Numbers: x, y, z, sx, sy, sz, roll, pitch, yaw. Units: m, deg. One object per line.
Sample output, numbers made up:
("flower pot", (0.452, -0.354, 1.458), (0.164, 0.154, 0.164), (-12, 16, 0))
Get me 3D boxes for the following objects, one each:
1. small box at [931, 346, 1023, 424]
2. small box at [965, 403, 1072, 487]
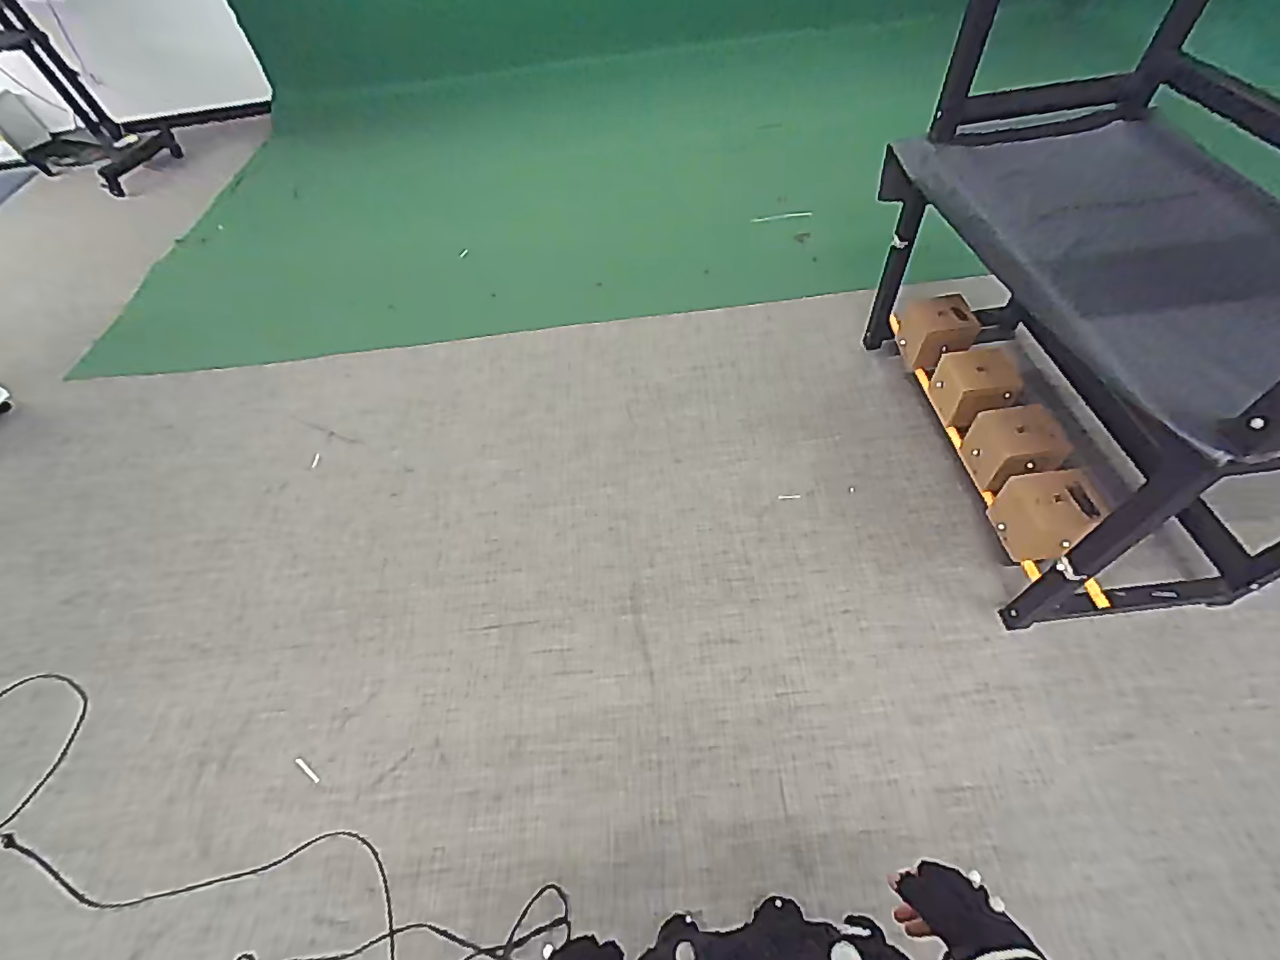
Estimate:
("small box", (1.032, -0.289, 1.679), (0.179, 0.176, 0.168), (-6, 54, 4))
("small box", (1.054, -0.094, 1.532), (0.179, 0.176, 0.168), (-7, 54, 2))
